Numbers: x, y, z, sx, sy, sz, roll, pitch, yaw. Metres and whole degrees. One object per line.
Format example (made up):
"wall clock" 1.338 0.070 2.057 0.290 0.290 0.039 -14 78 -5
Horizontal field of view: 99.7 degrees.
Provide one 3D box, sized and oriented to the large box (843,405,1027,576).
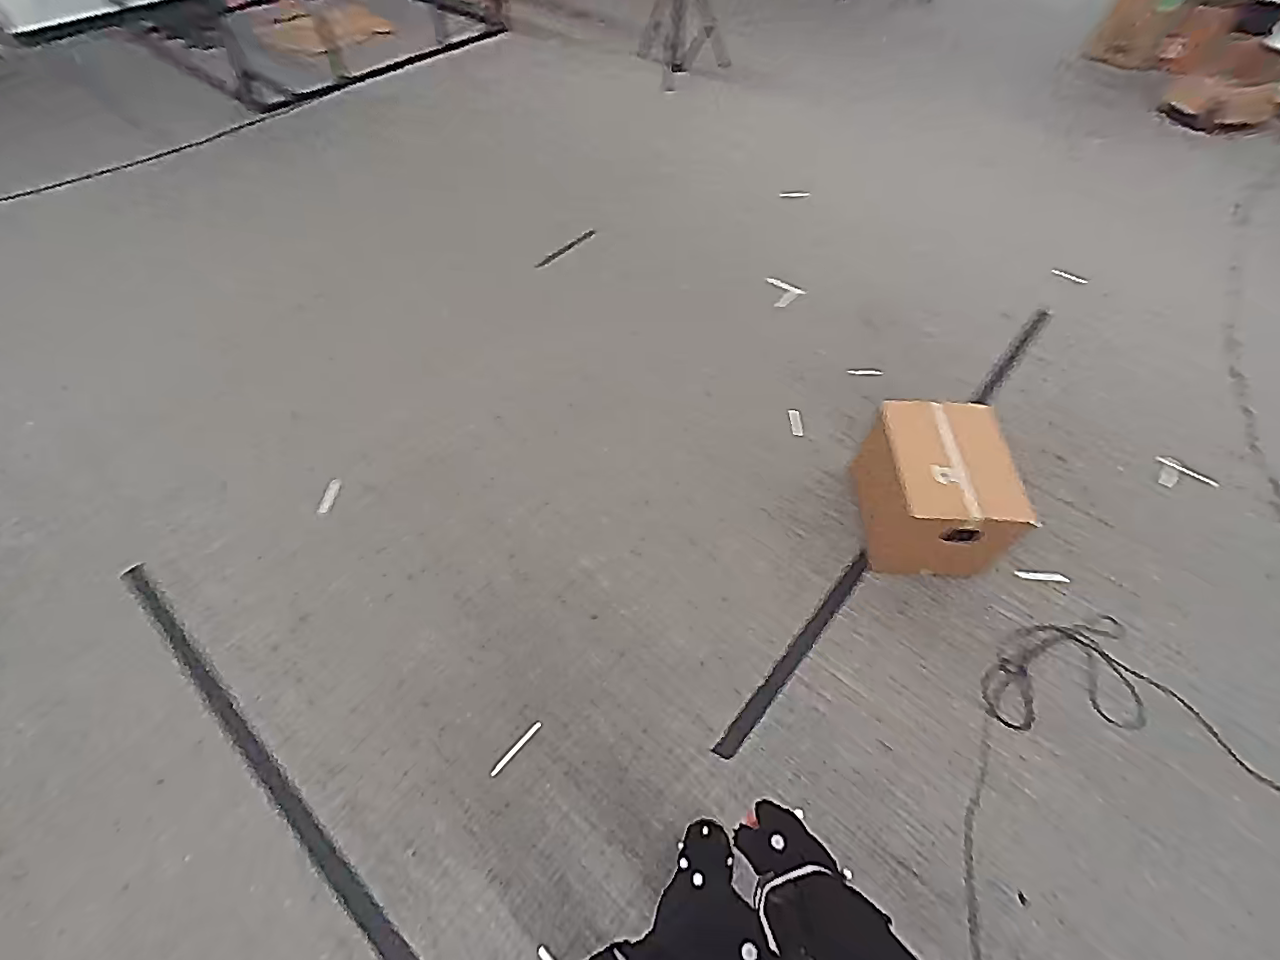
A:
"large box" 0.833 0.033 1.601 0.320 0.320 0.408 3 56 2
